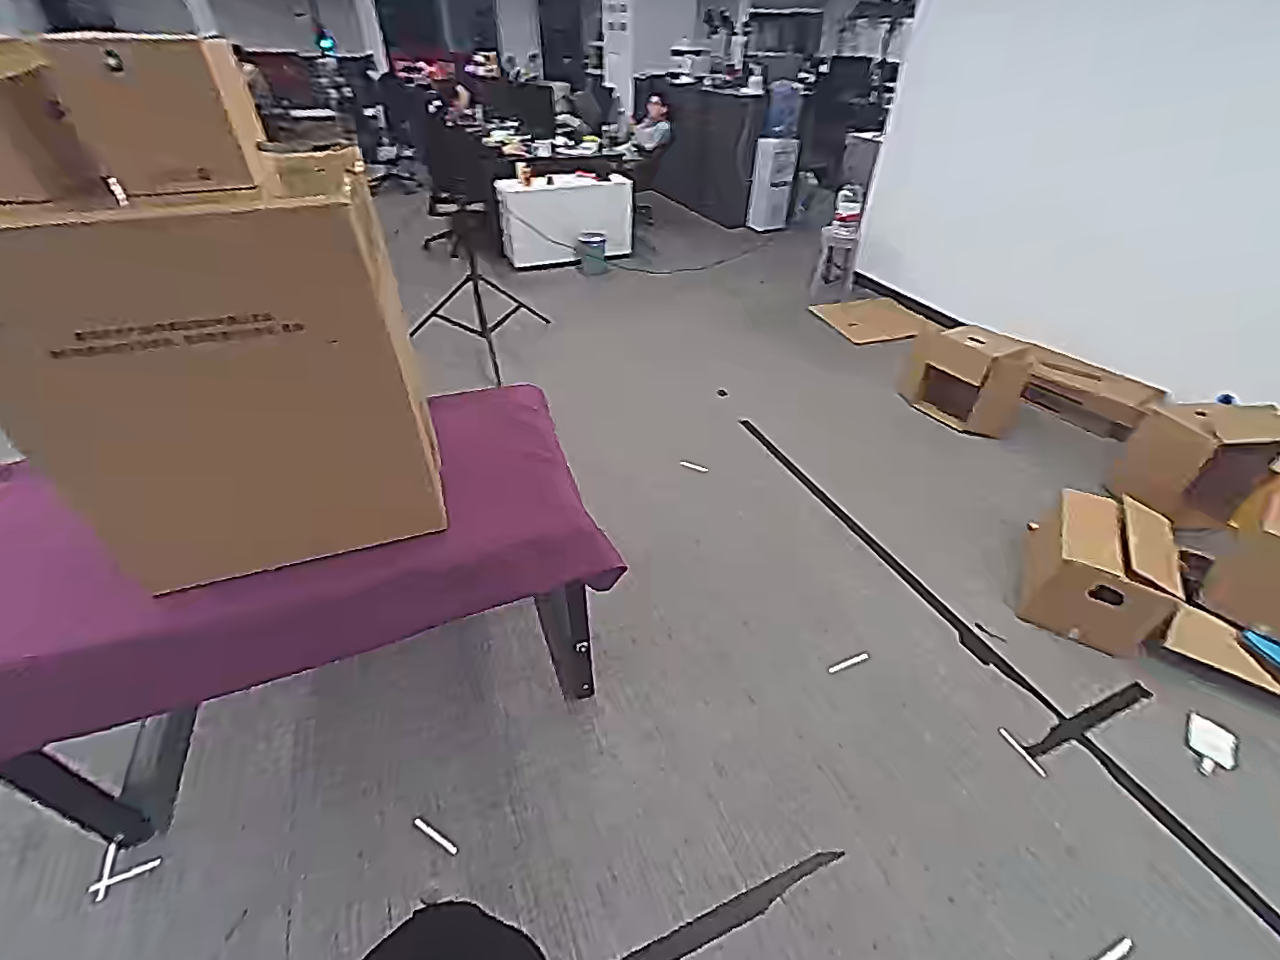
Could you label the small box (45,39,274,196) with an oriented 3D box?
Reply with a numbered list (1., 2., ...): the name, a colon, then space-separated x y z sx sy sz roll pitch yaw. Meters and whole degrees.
1. small box: -0.646 -0.507 0.760 0.168 0.176 0.179 -13 41 -16
